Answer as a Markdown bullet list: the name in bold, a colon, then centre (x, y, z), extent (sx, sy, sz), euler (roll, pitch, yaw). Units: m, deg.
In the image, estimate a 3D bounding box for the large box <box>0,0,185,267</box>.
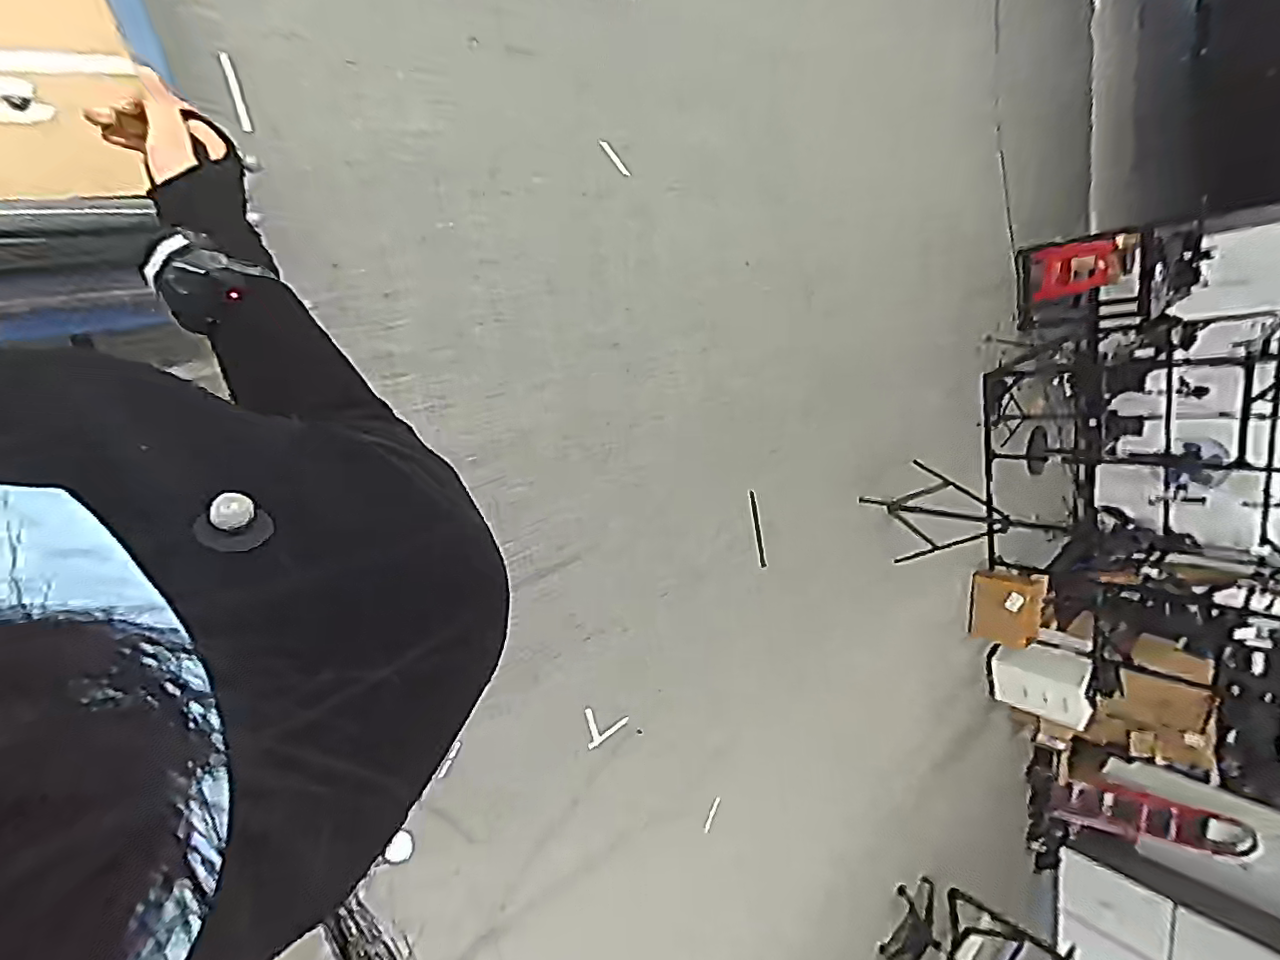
- **large box**: centre (-0.936, -0.490, 0.738), extent (0.408, 0.320, 0.320), euler (-27, 112, -35)
